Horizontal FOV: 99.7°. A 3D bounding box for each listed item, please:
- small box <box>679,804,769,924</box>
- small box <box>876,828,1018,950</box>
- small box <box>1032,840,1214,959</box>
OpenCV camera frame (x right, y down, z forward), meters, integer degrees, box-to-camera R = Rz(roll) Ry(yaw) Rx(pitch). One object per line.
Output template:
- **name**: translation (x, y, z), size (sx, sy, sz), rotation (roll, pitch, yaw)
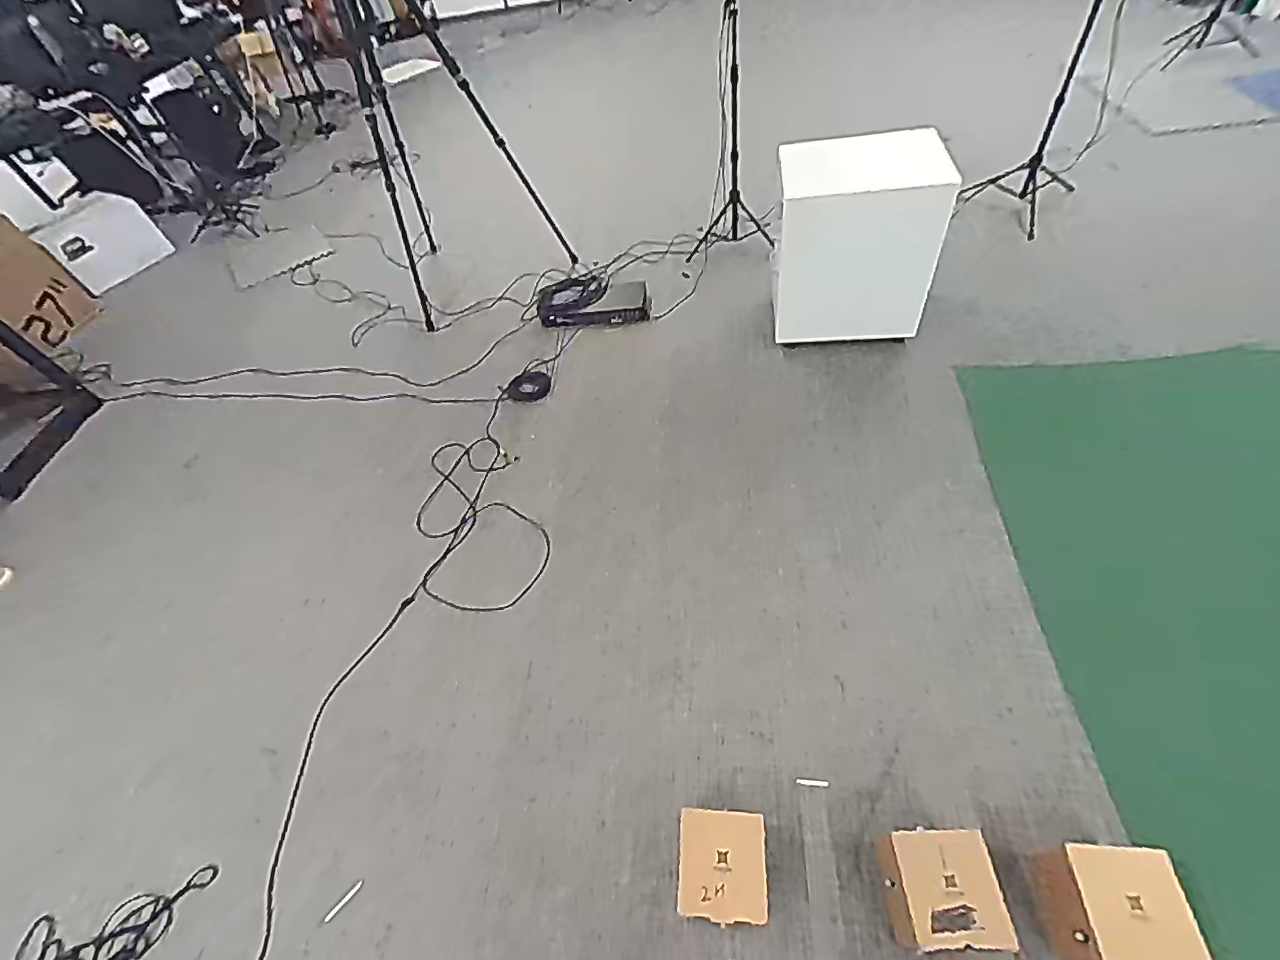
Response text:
- **small box**: translation (0.171, 0.776, 1.094), size (0.168, 0.176, 0.179), rotation (-1, 52, 10)
- **small box**: translation (0.567, 0.774, 1.028), size (0.168, 0.176, 0.179), rotation (-5, 50, 6)
- **small box**: translation (0.857, 0.771, 0.980), size (0.168, 0.176, 0.179), rotation (-2, 52, 9)
